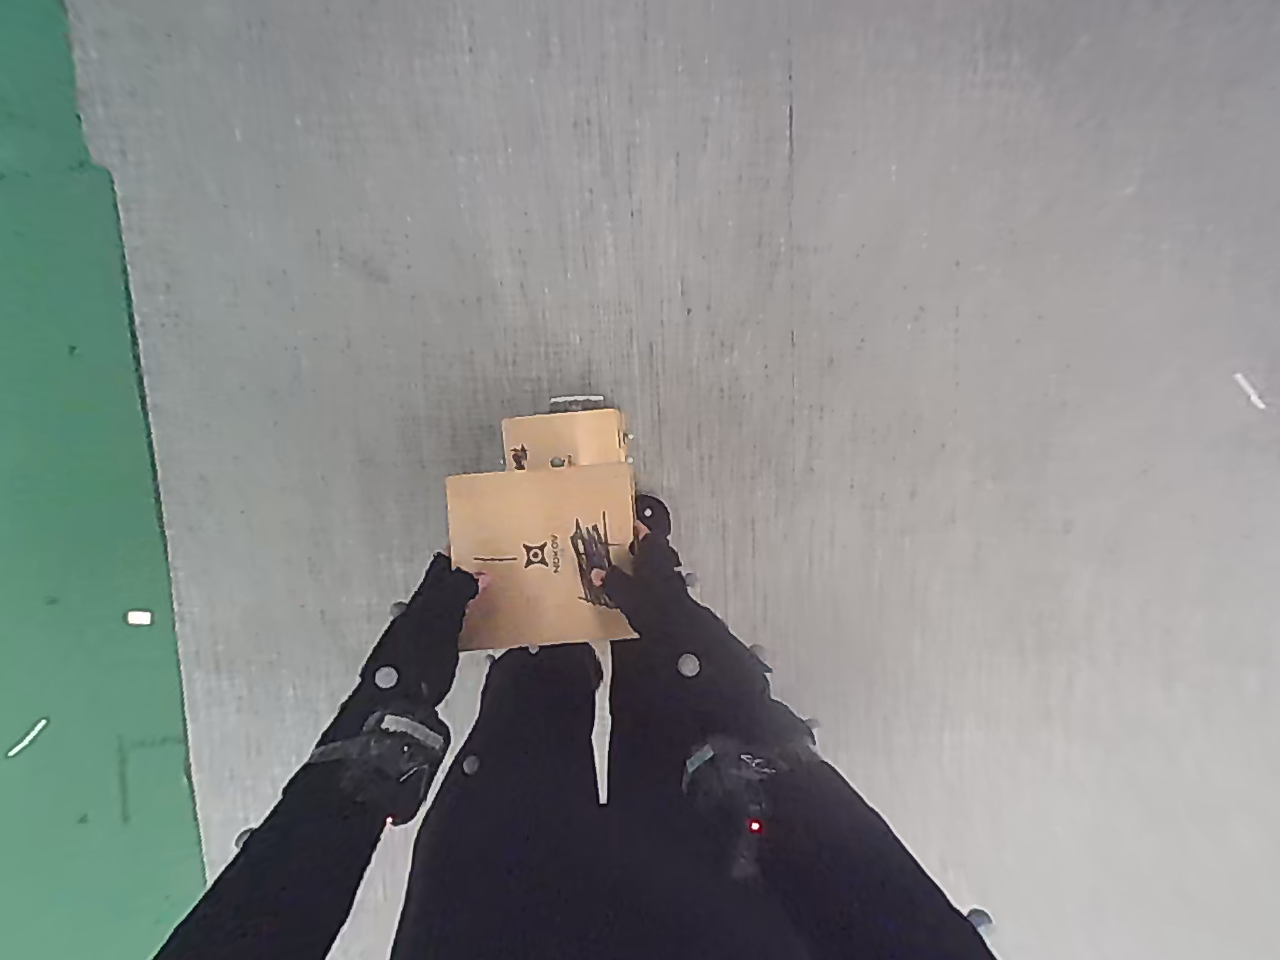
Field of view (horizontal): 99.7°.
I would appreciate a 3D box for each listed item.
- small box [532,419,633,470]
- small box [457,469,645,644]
[{"bbox_3d":[-0.103,-0.033,1.058,0.179,0.176,0.168,-4,95,2],"label":"small box"},{"bbox_3d":[-0.087,0.076,0.589,0.179,0.176,0.168,-2,85,-1],"label":"small box"}]
